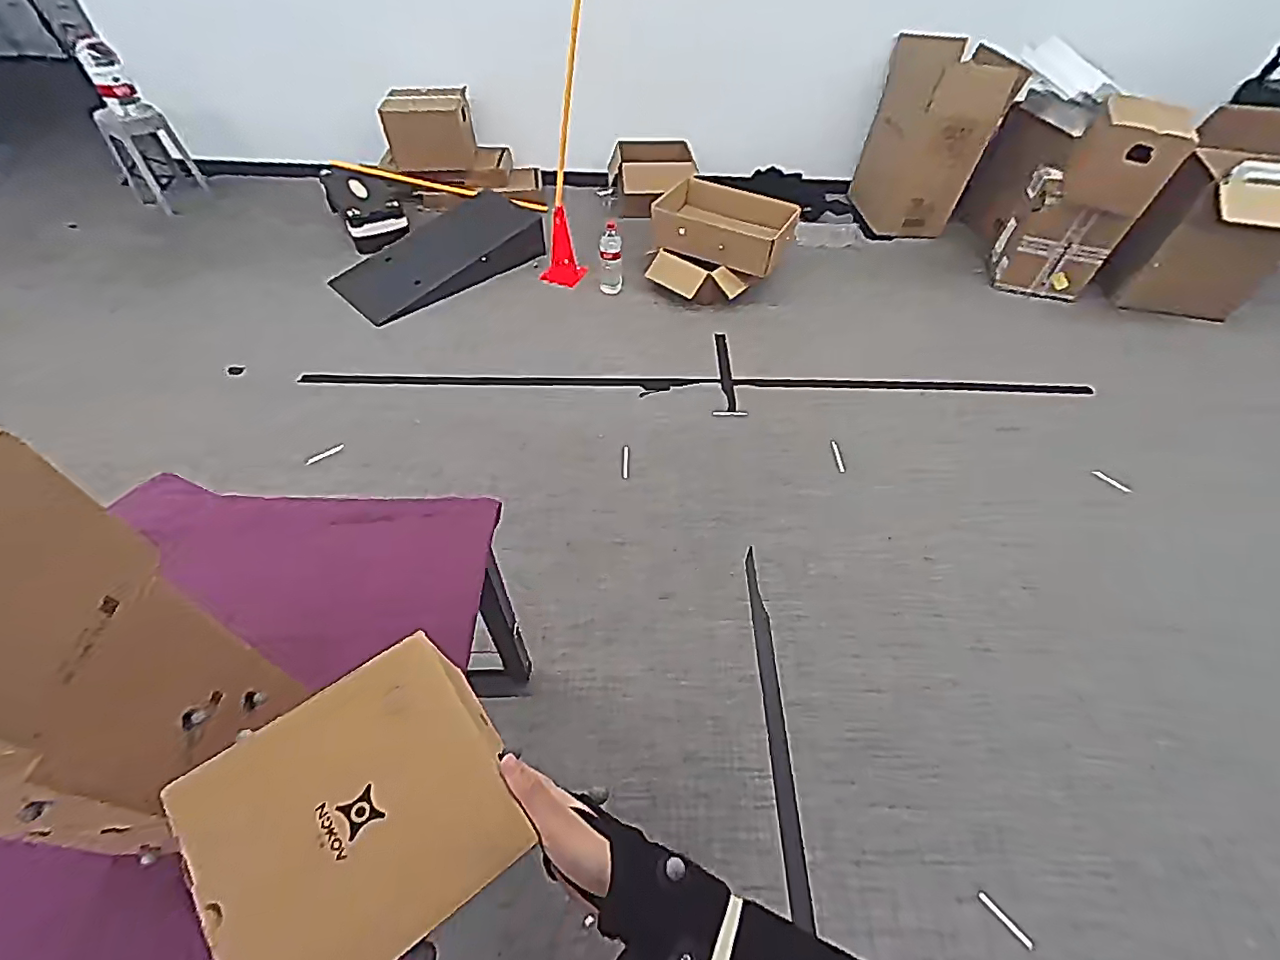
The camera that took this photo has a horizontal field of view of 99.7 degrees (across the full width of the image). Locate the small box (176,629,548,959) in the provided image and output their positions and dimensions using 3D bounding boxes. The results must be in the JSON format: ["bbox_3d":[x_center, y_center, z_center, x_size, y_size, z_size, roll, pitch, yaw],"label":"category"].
[{"bbox_3d":[-0.186,0.245,0.415,0.179,0.176,0.168,-31,70,-21],"label":"small box"}]

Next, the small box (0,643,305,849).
[{"bbox_3d":[-0.514,0.302,0.612,0.168,0.176,0.179,-1,51,-2],"label":"small box"}]
